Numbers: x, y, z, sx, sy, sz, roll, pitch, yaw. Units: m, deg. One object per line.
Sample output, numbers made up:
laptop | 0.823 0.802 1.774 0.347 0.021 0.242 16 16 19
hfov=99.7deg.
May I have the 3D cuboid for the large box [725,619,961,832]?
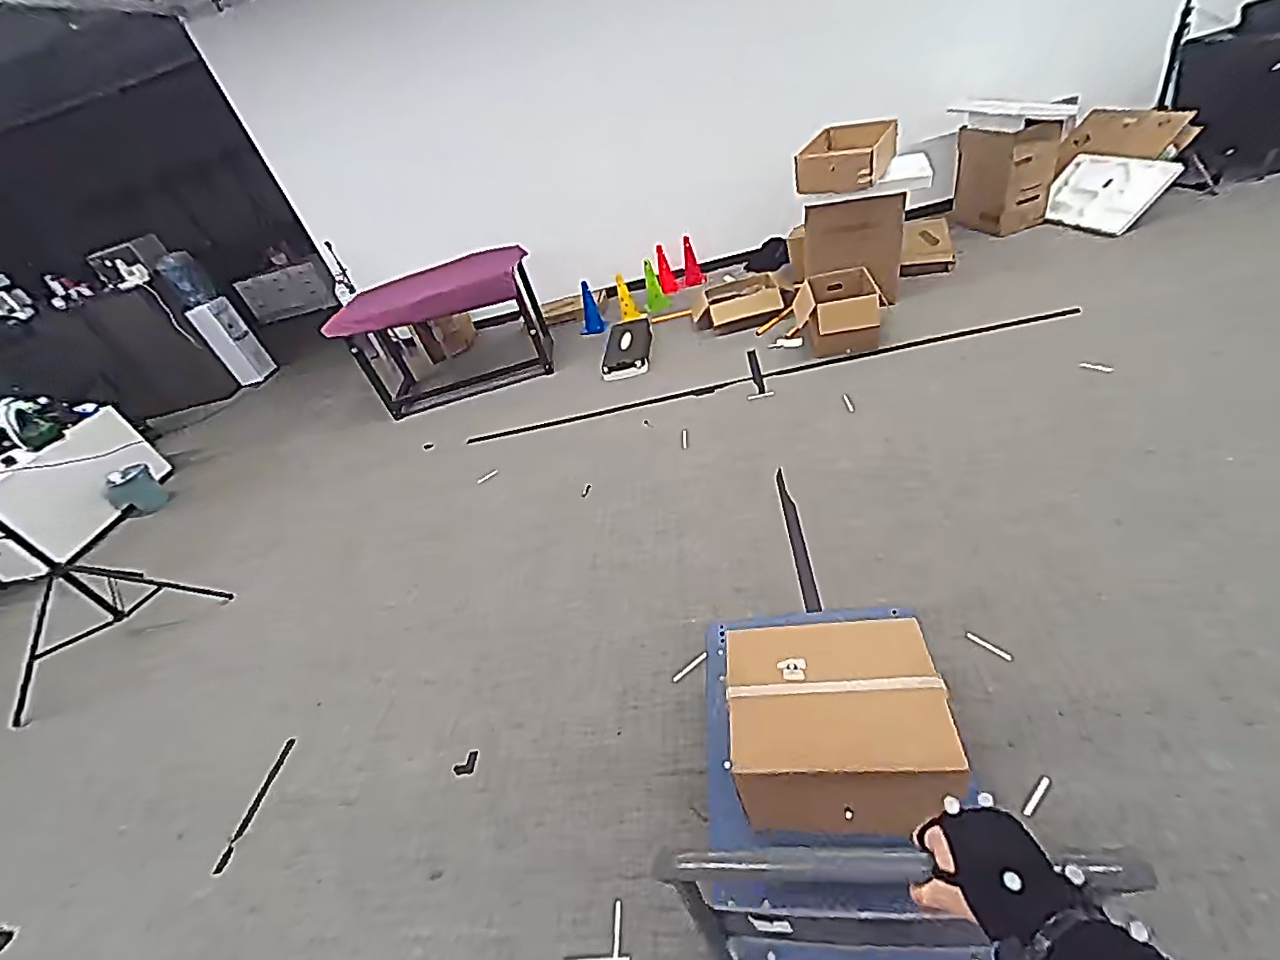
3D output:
large box | 0.417 0.539 1.175 0.408 0.320 0.320 -10 37 14
